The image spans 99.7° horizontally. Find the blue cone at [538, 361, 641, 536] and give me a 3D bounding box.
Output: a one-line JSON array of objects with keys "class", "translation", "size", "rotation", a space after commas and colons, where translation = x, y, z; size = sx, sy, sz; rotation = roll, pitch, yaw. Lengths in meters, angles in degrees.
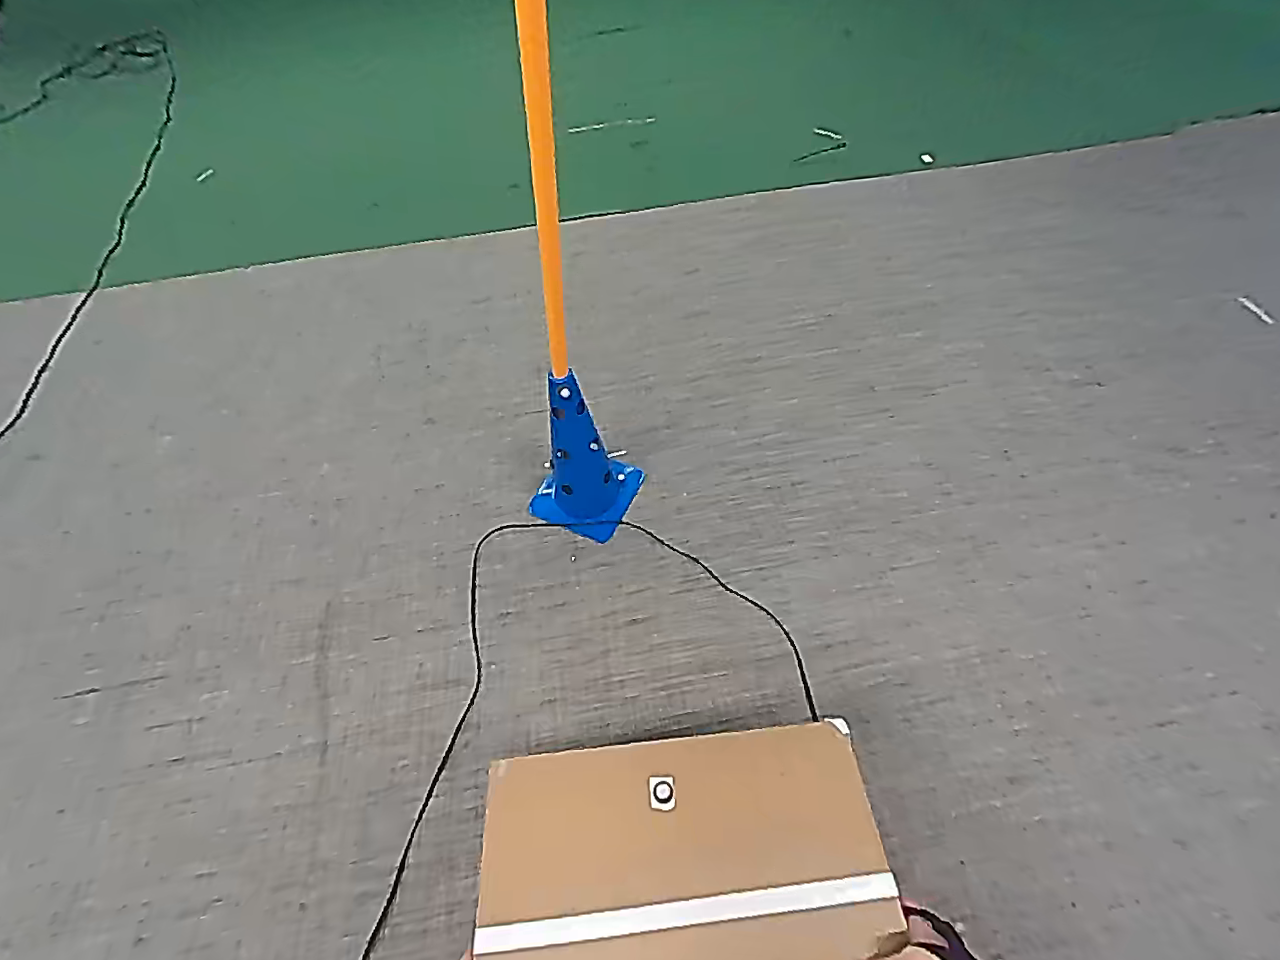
[{"class": "blue cone", "translation": [-0.113, -0.074, 1.023], "size": [0.192, 0.380, 0.193], "rotation": [18, 57, 14]}]
